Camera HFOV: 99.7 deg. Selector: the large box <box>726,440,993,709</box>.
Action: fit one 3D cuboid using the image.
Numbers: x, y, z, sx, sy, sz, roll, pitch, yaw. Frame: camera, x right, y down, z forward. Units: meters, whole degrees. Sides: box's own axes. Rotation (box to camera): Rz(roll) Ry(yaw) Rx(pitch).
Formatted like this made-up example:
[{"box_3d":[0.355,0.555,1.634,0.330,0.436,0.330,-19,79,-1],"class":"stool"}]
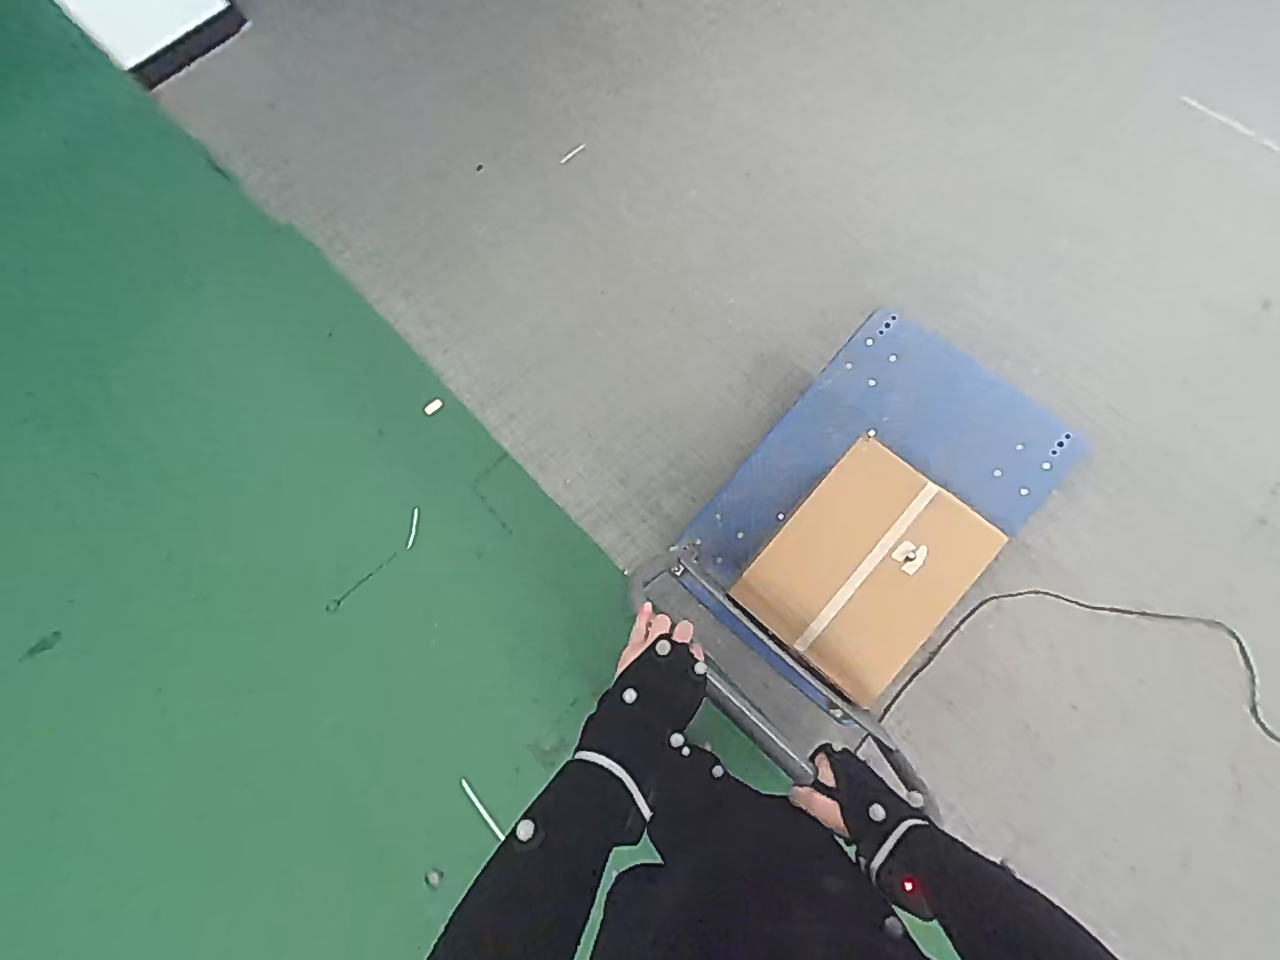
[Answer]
[{"box_3d":[0.423,0.194,1.145,0.320,0.320,0.408,40,87,12],"class":"large box"}]
